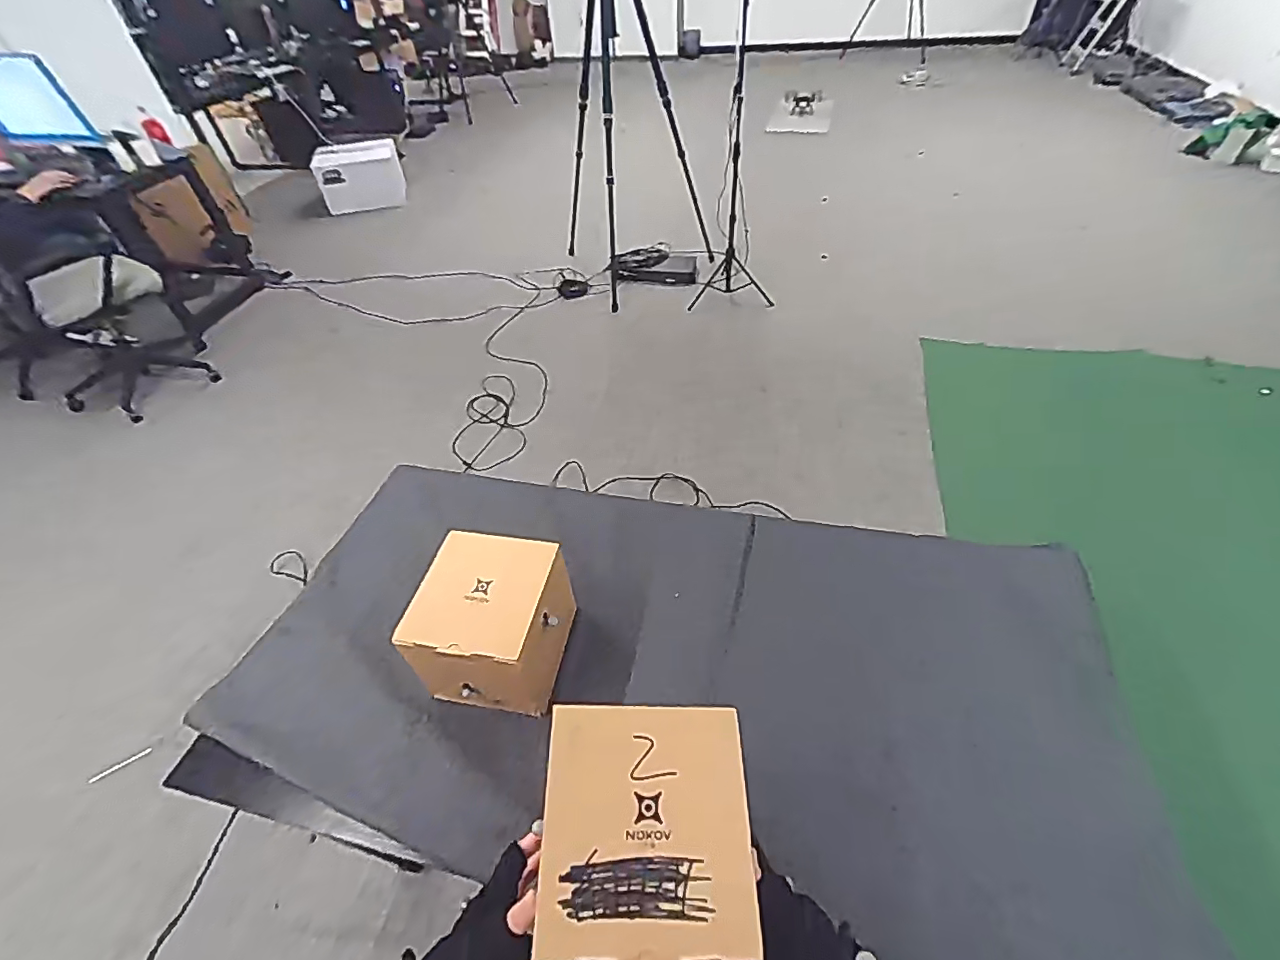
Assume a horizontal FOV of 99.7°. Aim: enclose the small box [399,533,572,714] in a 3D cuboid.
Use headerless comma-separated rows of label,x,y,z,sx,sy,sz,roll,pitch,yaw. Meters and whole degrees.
small box,-0.201,0.202,0.767,0.168,0.176,0.179,6,48,10
